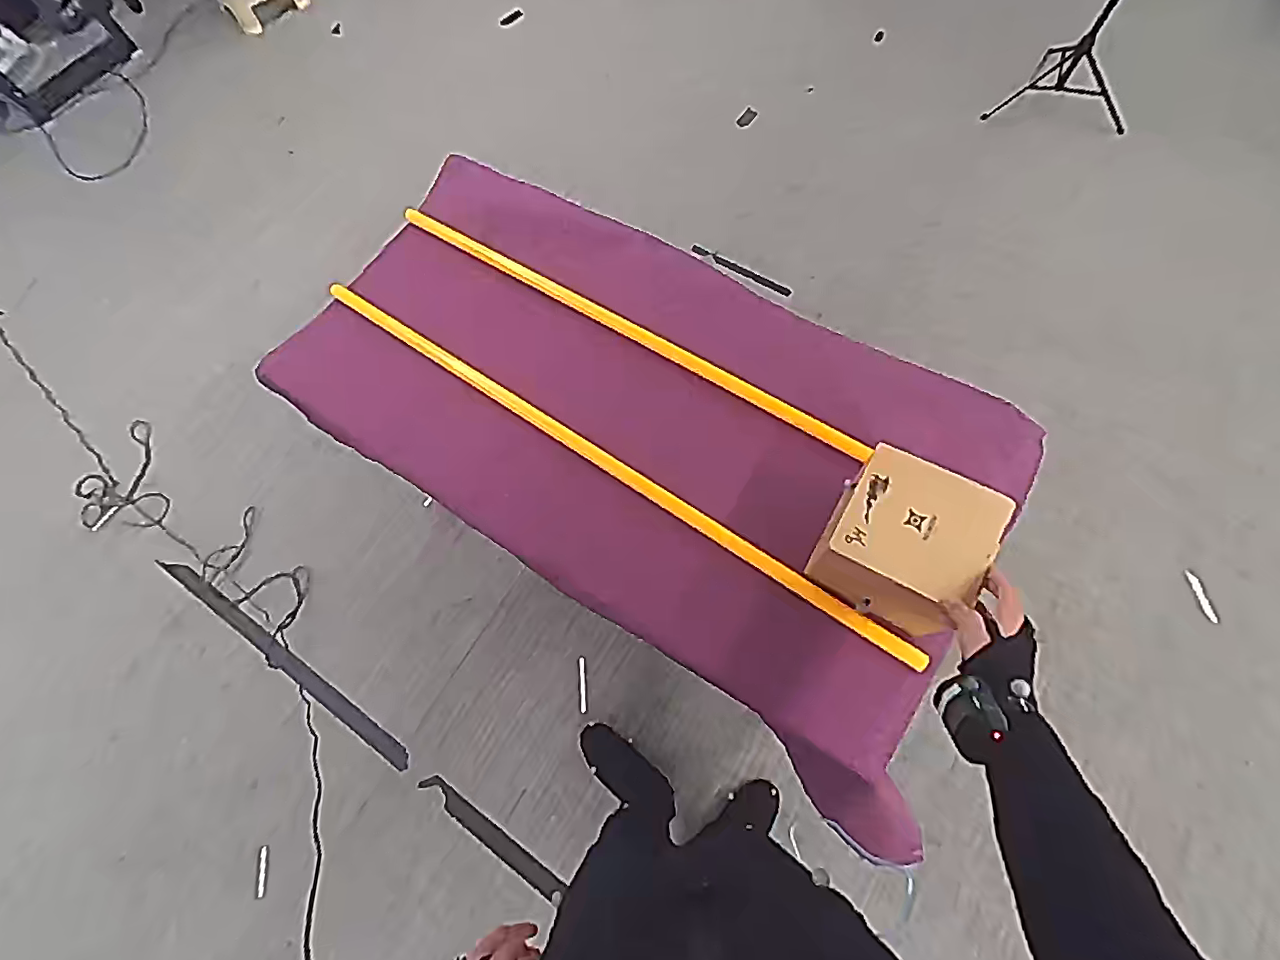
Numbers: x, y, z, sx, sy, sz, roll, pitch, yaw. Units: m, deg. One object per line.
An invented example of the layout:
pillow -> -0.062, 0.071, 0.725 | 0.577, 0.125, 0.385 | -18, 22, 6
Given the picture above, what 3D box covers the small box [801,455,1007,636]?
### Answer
small box -> 0.346, 0.098, 0.741 | 0.179, 0.176, 0.168 | 29, 74, 15
